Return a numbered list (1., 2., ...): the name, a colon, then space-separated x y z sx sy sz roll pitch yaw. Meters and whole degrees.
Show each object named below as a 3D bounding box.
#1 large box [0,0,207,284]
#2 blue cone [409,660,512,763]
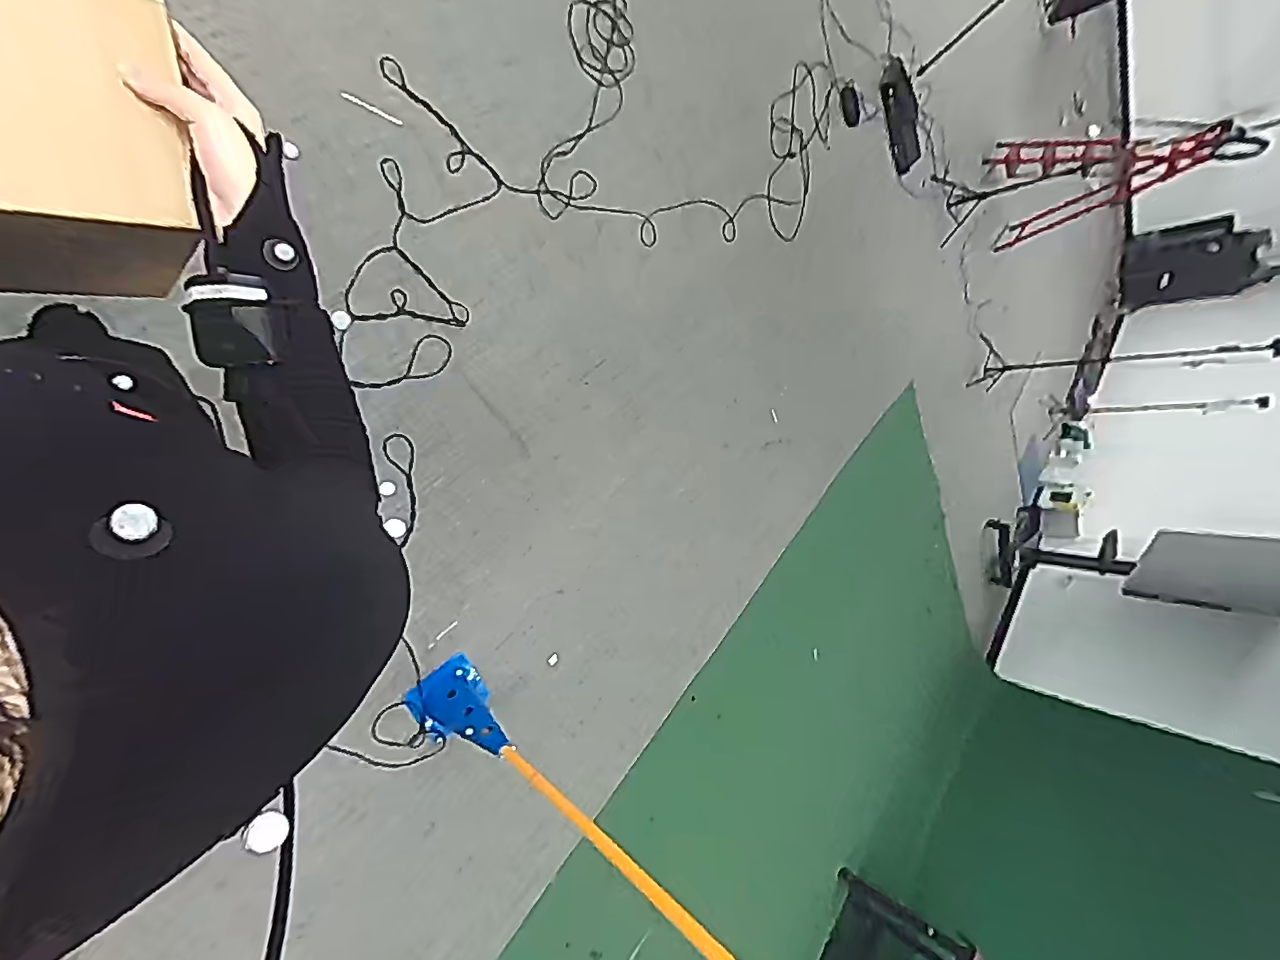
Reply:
1. large box: -0.583 -0.317 0.341 0.408 0.320 0.320 -16 106 -45
2. blue cone: -0.456 0.658 1.465 0.193 0.380 0.192 -37 117 -34
